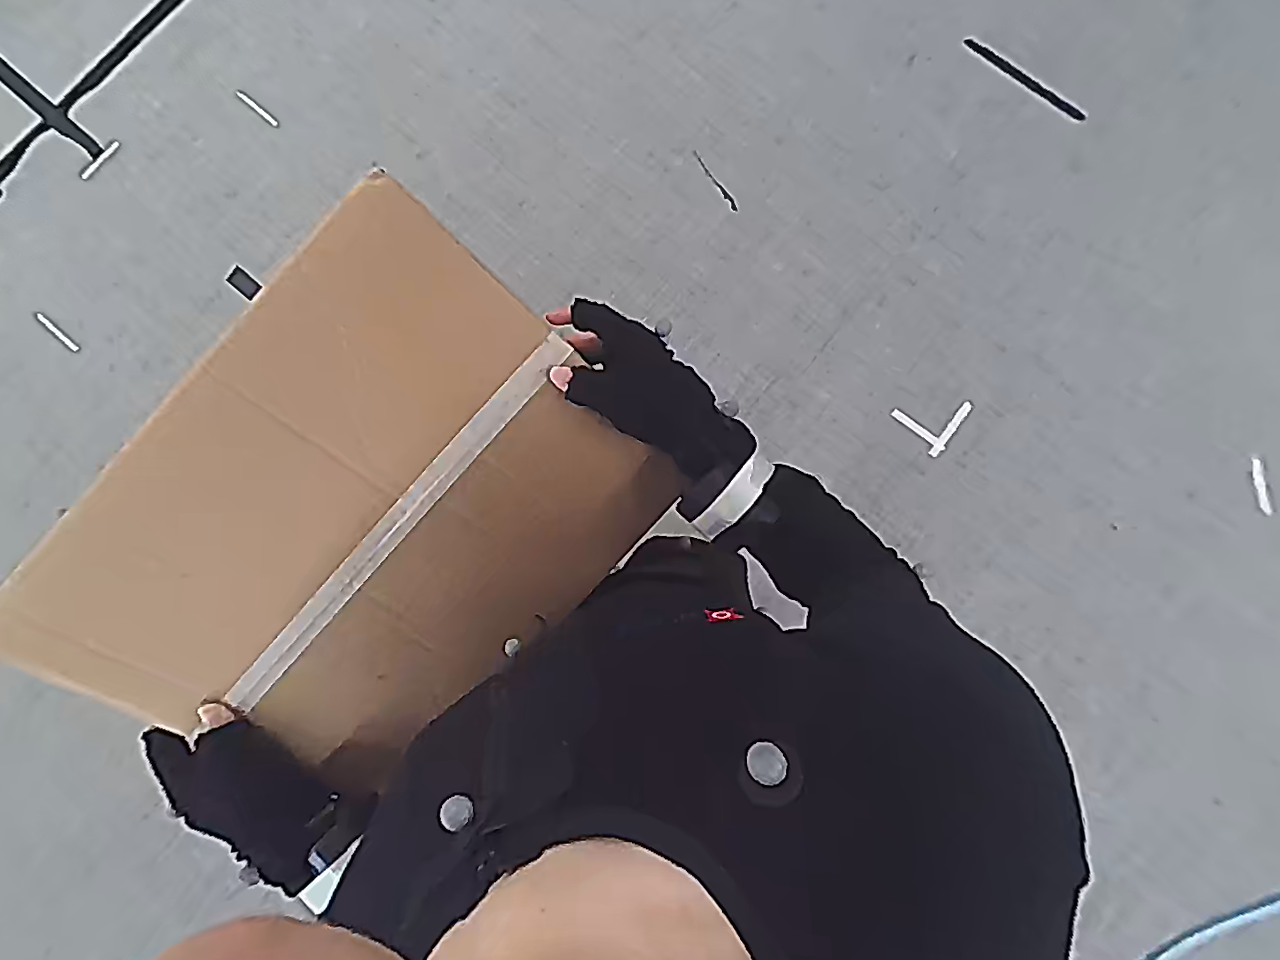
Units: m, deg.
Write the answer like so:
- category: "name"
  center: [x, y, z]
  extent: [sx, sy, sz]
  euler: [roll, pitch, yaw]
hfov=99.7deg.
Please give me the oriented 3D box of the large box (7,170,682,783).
- category: "large box"
  center: [-0.236, -0.007, 0.552]
  extent: [0.408, 0.320, 0.320]
  euler: [-47, 115, 3]
